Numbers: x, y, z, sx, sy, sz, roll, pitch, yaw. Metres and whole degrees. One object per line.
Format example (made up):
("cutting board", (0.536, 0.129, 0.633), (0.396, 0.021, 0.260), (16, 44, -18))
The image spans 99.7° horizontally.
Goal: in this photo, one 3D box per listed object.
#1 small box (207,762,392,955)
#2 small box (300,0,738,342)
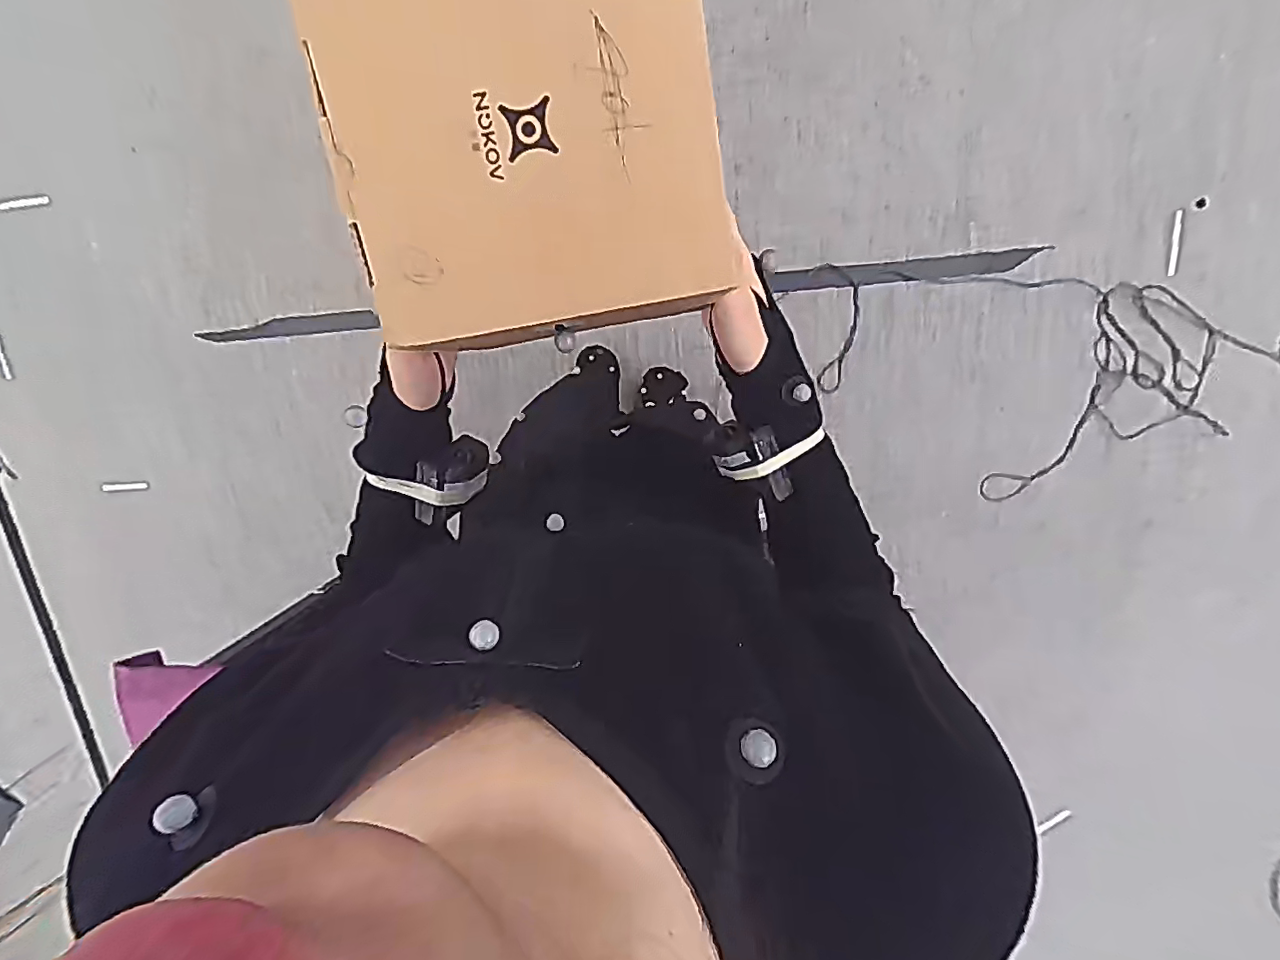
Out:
("small box", (-0.506, 0.570, 0.830), (0.168, 0.176, 0.179), (-1, 102, 5))
("small box", (-0.048, -0.176, 0.319), (0.179, 0.176, 0.168), (-9, 105, 3))
